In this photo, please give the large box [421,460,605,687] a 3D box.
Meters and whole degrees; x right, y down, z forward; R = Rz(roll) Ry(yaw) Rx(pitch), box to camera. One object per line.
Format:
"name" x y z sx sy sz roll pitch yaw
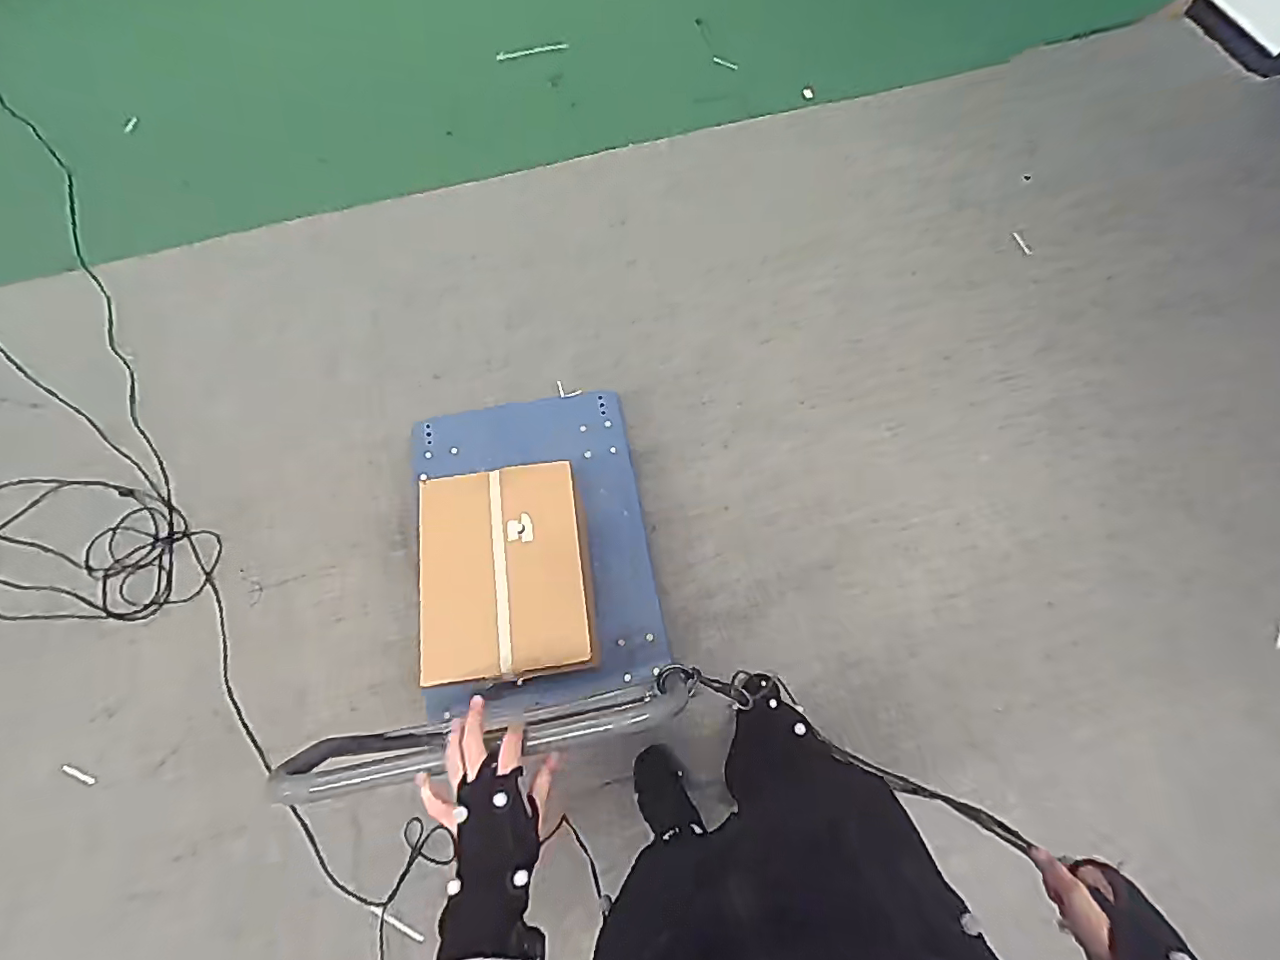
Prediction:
"large box" -0.265 0.216 1.182 0.320 0.320 0.408 -8 69 -3
